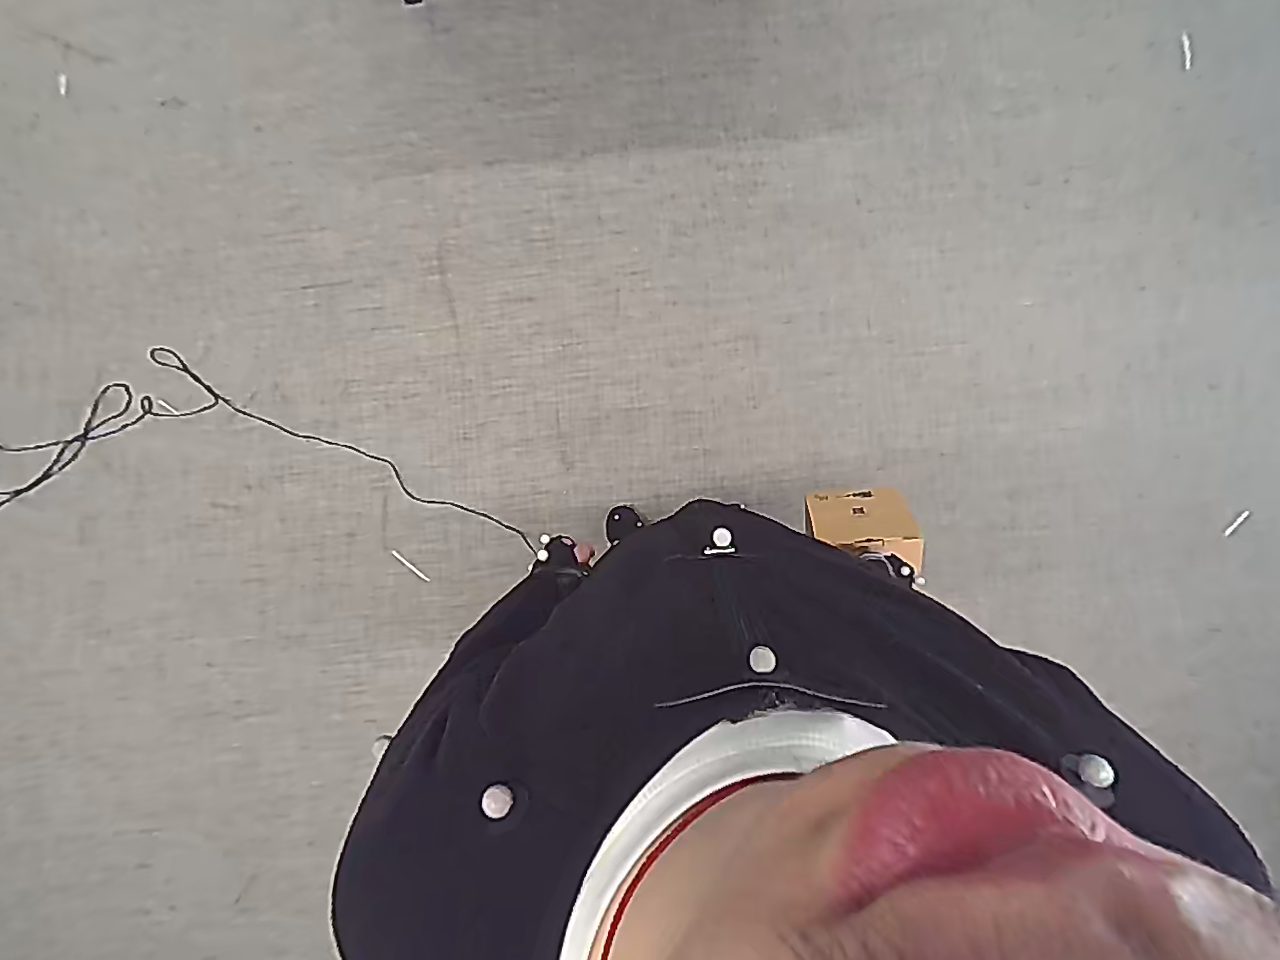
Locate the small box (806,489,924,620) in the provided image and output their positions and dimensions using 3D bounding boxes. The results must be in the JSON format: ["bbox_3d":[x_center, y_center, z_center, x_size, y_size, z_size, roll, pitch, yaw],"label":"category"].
[{"bbox_3d":[0.401,0.138,0.979,0.168,0.179,0.176,-7,115,11],"label":"small box"}]
